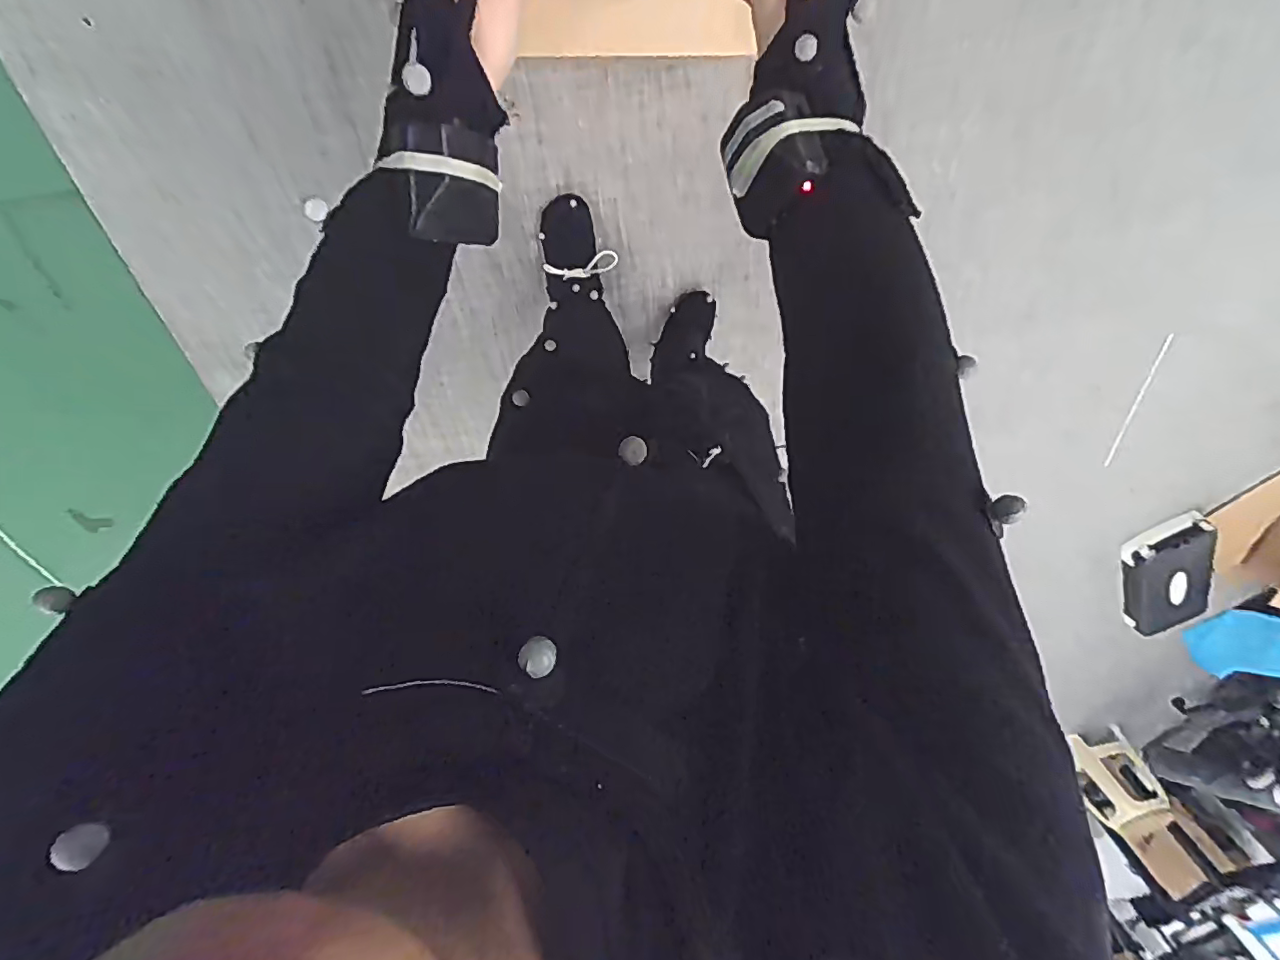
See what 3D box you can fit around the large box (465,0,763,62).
[{"bbox_3d":[-0.058,-0.798,0.767,0.408,0.320,0.320,-7,128,-8],"label":"large box"}]
